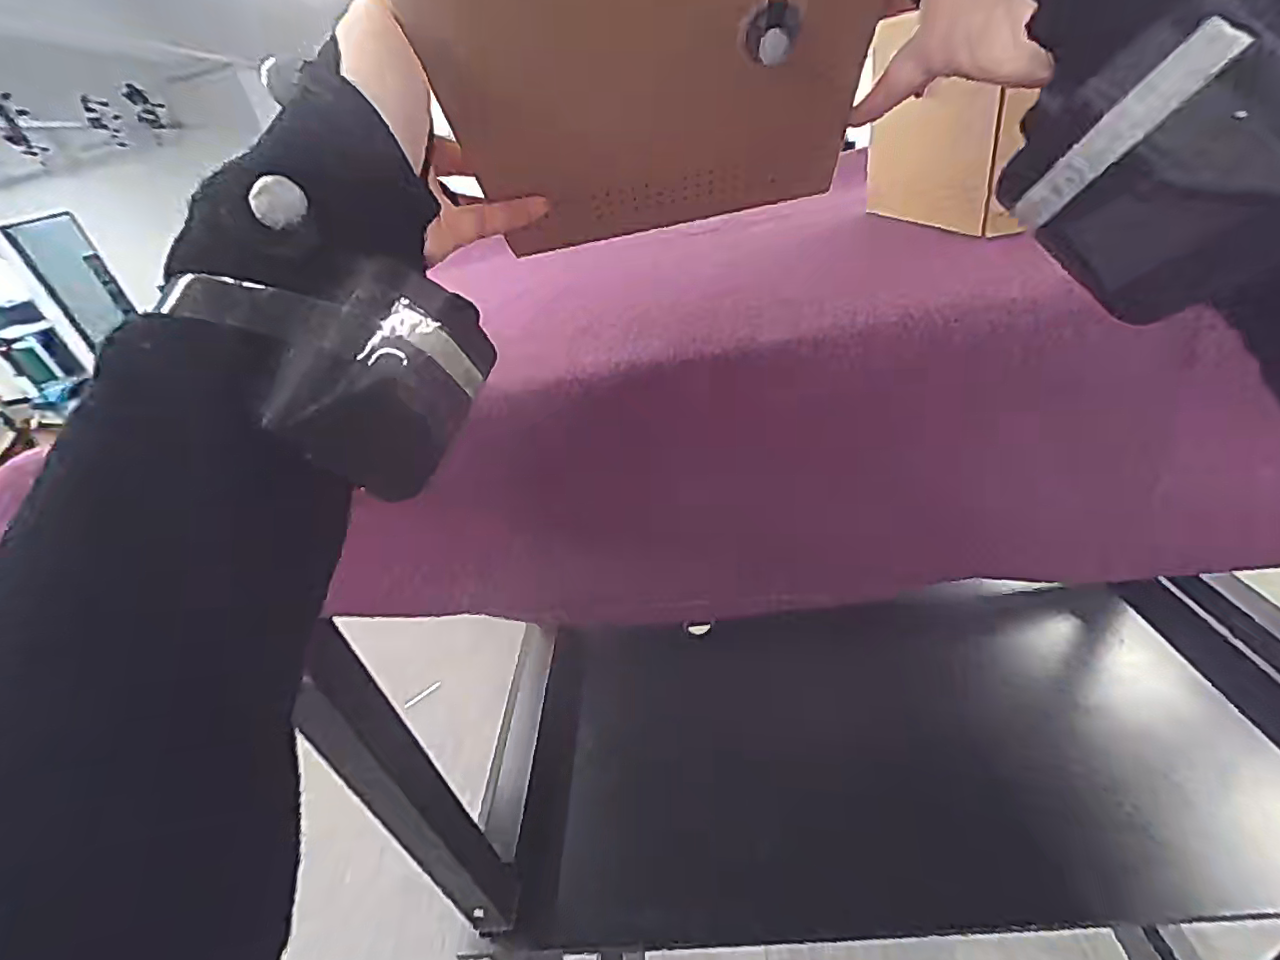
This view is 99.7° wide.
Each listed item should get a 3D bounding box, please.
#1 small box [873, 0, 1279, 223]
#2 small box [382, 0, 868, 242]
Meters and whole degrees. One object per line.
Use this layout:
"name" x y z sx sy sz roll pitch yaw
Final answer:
"small box" 0.270 -0.279 0.356 0.168 0.176 0.179 -11 31 2
"small box" -0.008 -0.235 0.230 0.179 0.176 0.168 -10 71 3
